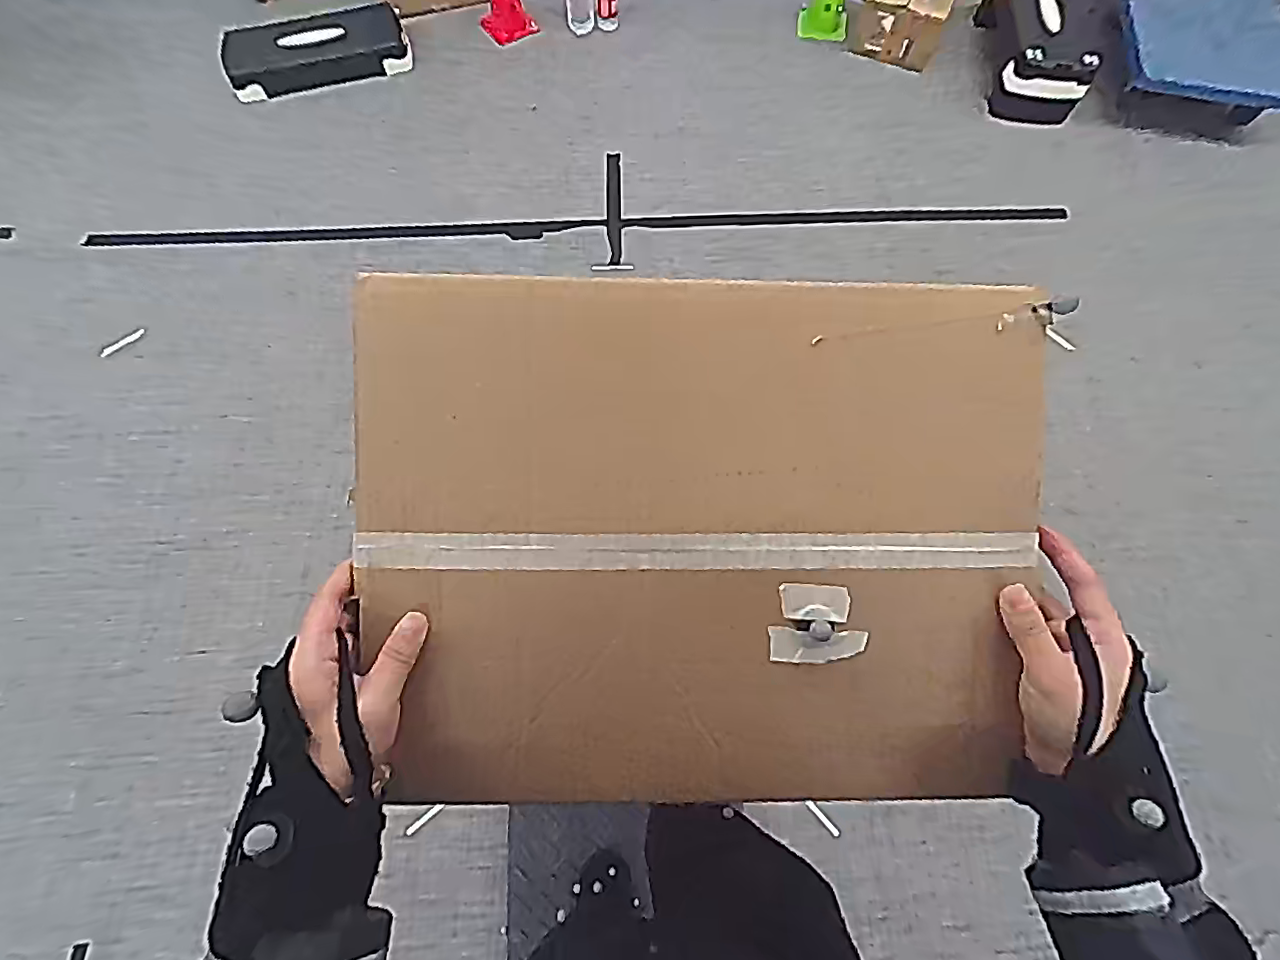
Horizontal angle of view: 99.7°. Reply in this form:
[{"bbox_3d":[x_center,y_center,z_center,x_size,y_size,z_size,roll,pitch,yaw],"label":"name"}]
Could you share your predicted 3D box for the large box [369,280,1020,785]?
[{"bbox_3d":[0.031,0.027,0.484,0.408,0.320,0.320,0,94,-2],"label":"large box"}]
